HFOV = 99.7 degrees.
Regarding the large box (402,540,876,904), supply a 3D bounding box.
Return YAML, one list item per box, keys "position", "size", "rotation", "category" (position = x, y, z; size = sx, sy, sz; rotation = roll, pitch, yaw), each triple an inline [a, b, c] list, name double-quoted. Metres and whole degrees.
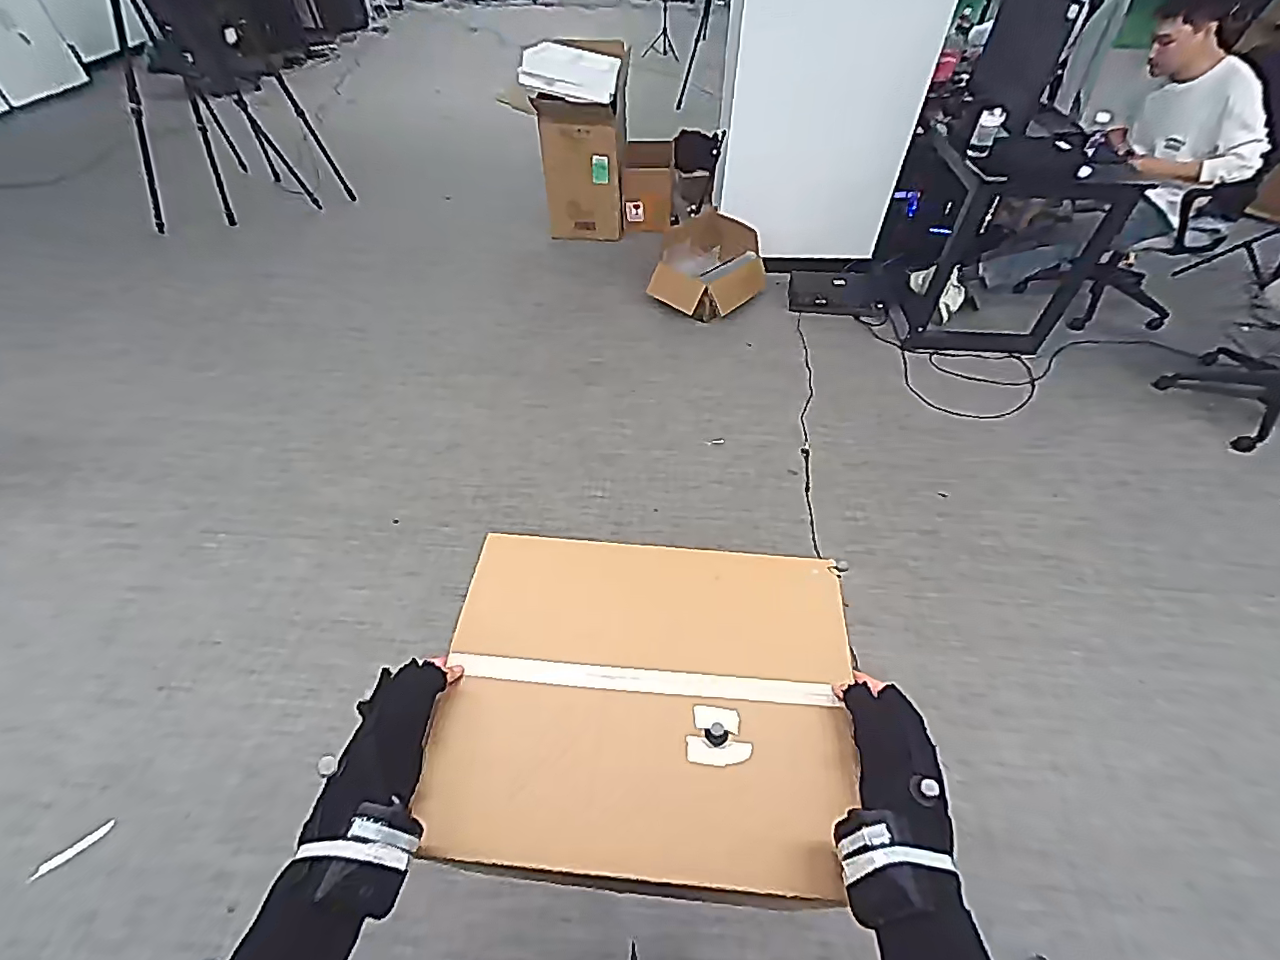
- position: [0.004, 0.295, 0.652]
  size: [0.408, 0.320, 0.320]
  rotation: [5, 51, 3]
  category: "large box"
